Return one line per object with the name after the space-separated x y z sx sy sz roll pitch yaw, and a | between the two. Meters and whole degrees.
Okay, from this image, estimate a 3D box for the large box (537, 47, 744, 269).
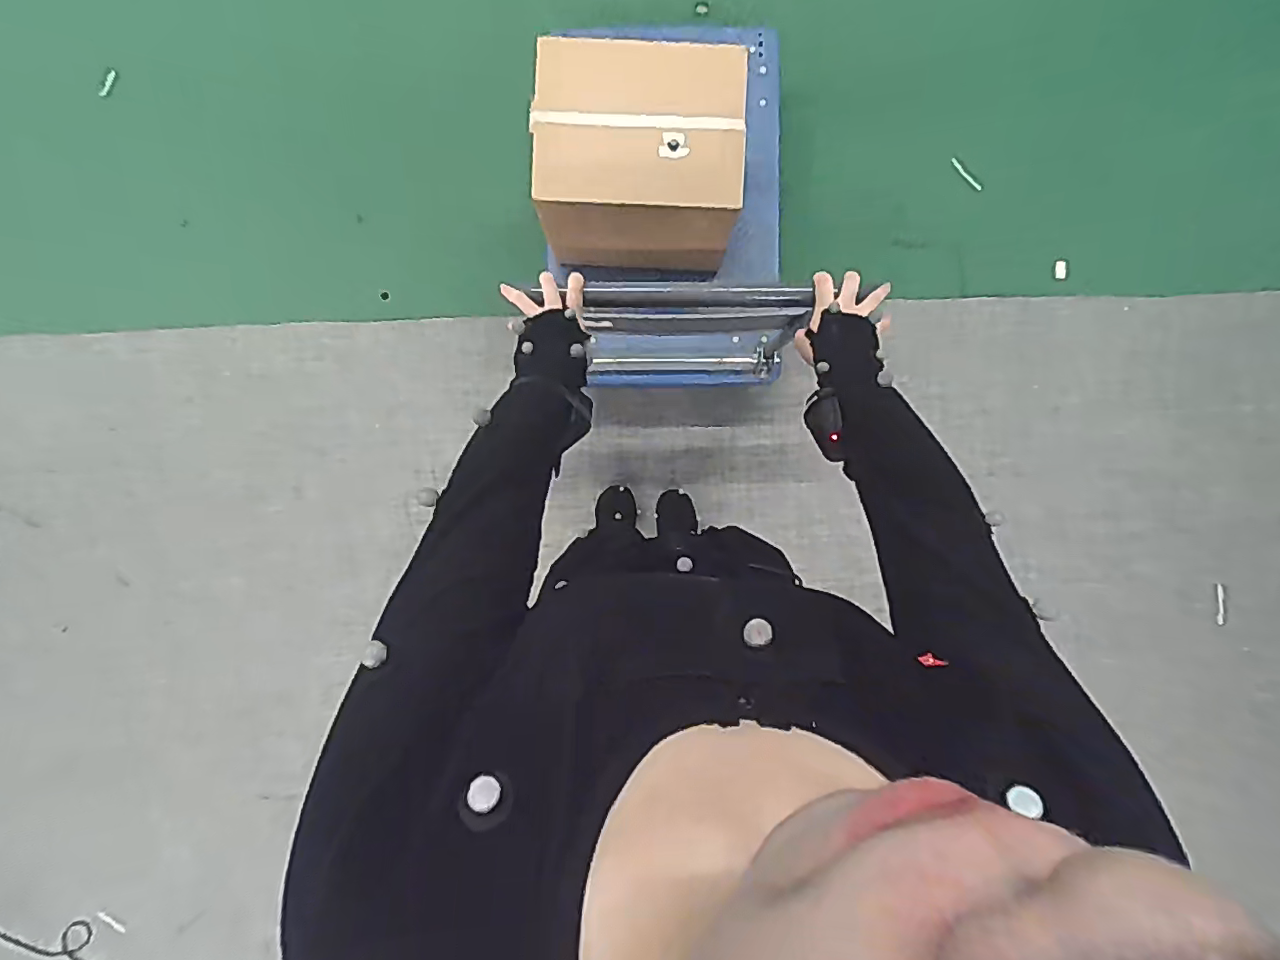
-0.004 -0.681 1.197 0.408 0.320 0.320 2 90 -1 | large box
